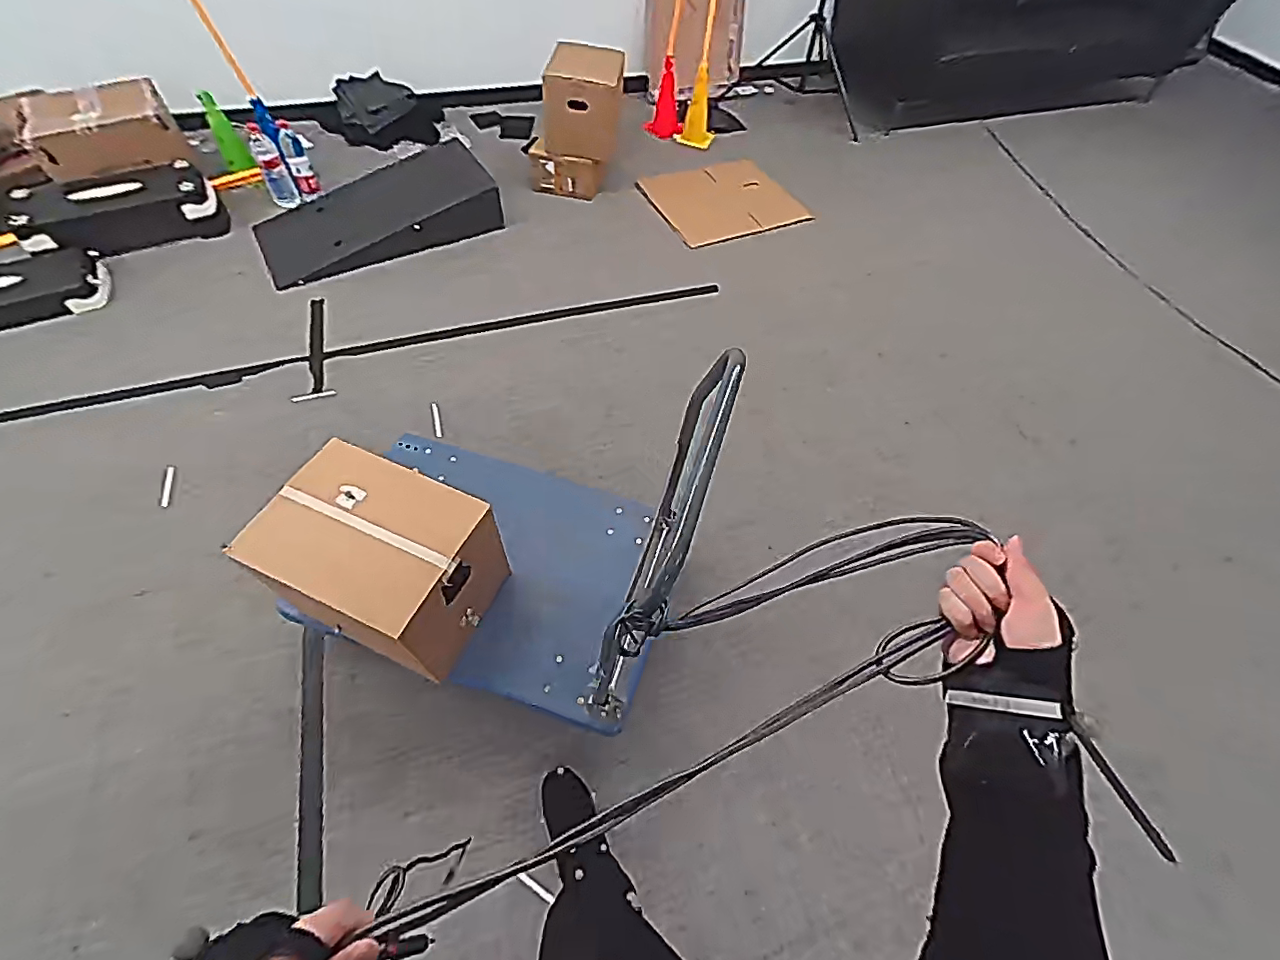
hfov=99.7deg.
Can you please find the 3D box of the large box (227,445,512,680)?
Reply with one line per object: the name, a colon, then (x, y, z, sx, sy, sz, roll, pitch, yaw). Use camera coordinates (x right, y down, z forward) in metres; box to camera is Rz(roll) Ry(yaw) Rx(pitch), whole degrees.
large box: (-0.549, 0.187, 1.189, 0.408, 0.320, 0.320, 21, 56, 11)
